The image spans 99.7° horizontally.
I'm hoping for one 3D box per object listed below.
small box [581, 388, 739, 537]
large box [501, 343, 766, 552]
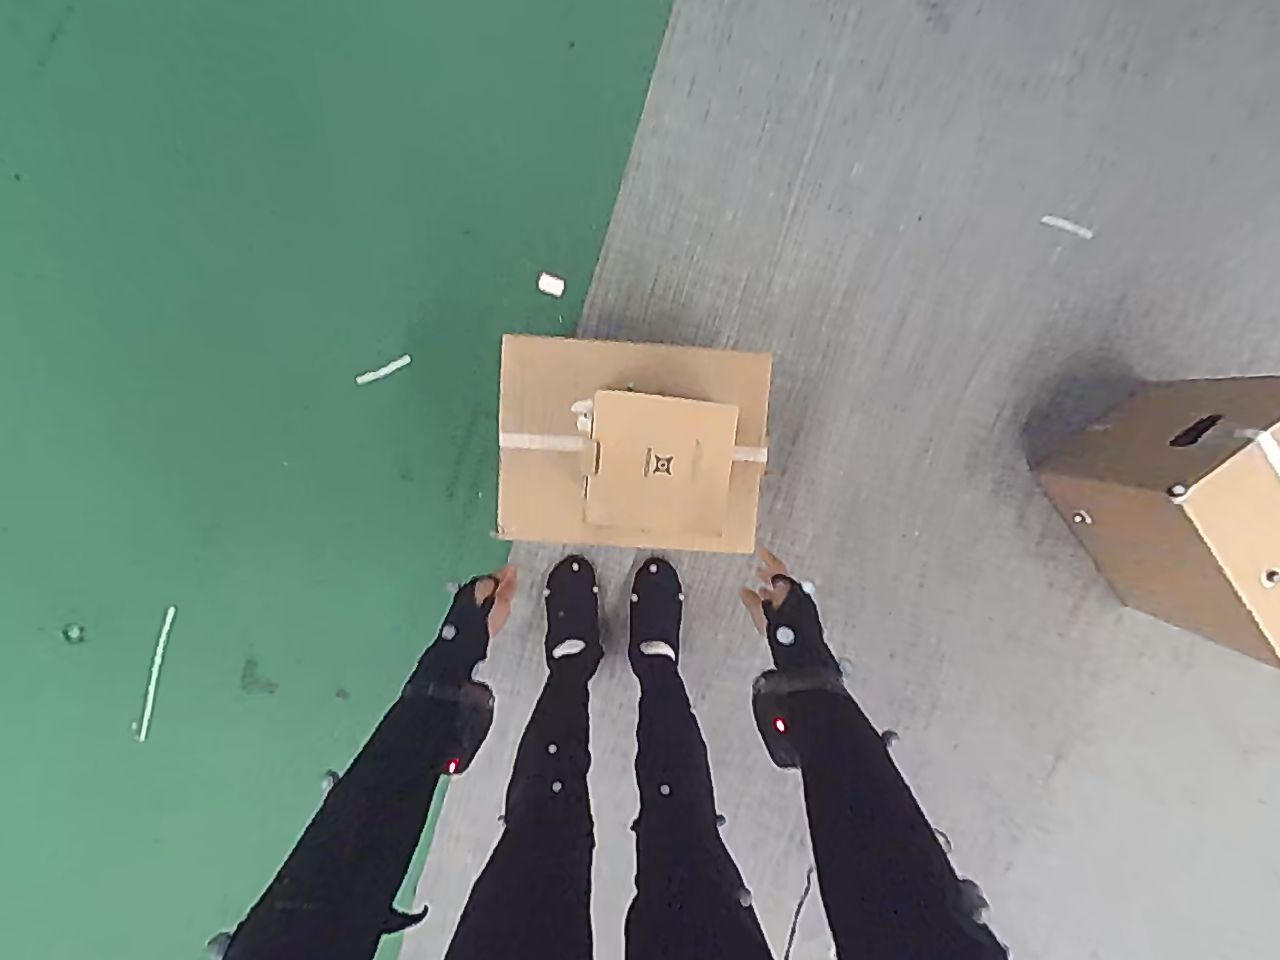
[{"bbox_3d":[0.021,-0.031,0.730,0.179,0.176,0.168,6,99,-3],"label":"small box"},{"bbox_3d":[-0.012,-0.066,0.973,0.408,0.320,0.320,3,97,-1],"label":"large box"}]
